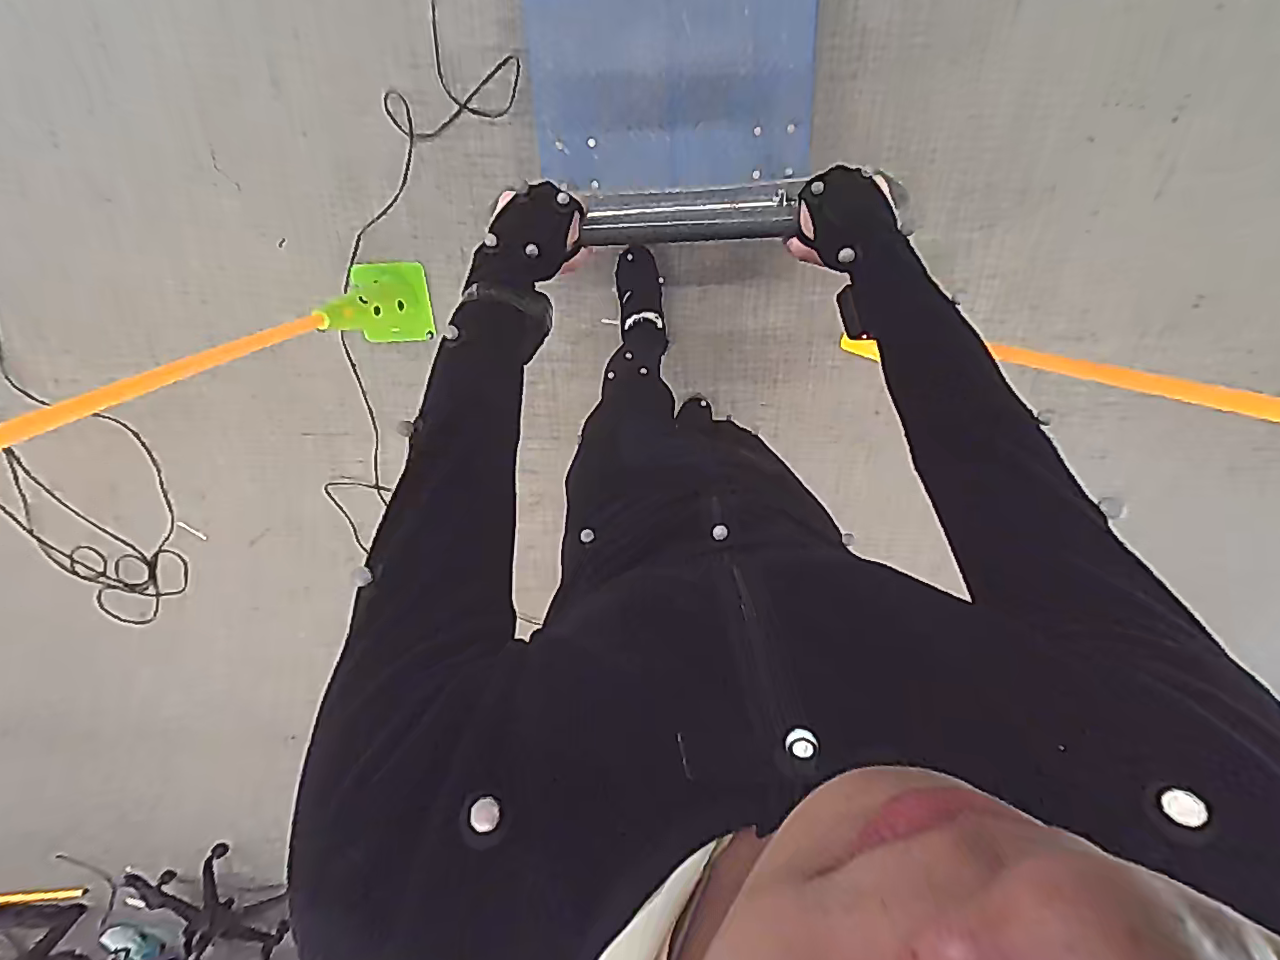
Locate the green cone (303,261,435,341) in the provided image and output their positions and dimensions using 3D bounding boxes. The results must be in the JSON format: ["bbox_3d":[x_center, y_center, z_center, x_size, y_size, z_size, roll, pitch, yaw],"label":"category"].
[{"bbox_3d":[-0.669,-0.409,1.288,0.202,0.368,0.200,-2,113,4],"label":"green cone"}]
